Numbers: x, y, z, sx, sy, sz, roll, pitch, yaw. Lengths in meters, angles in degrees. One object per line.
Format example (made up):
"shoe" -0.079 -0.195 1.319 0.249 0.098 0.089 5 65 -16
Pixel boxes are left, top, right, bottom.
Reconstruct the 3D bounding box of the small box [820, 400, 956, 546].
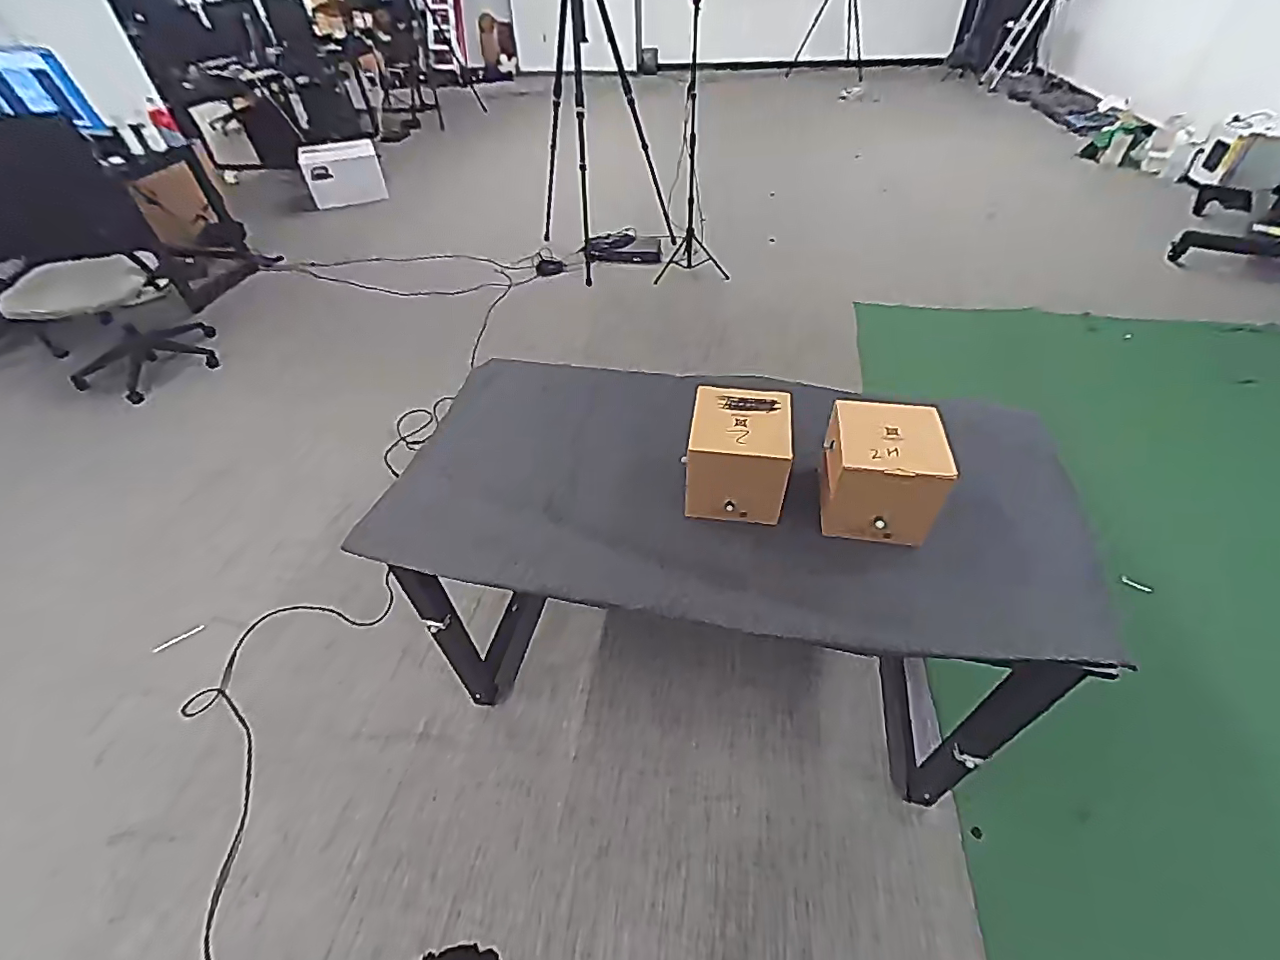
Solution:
"small box" 0.410 -0.013 0.929 0.168 0.176 0.179 6 45 10
